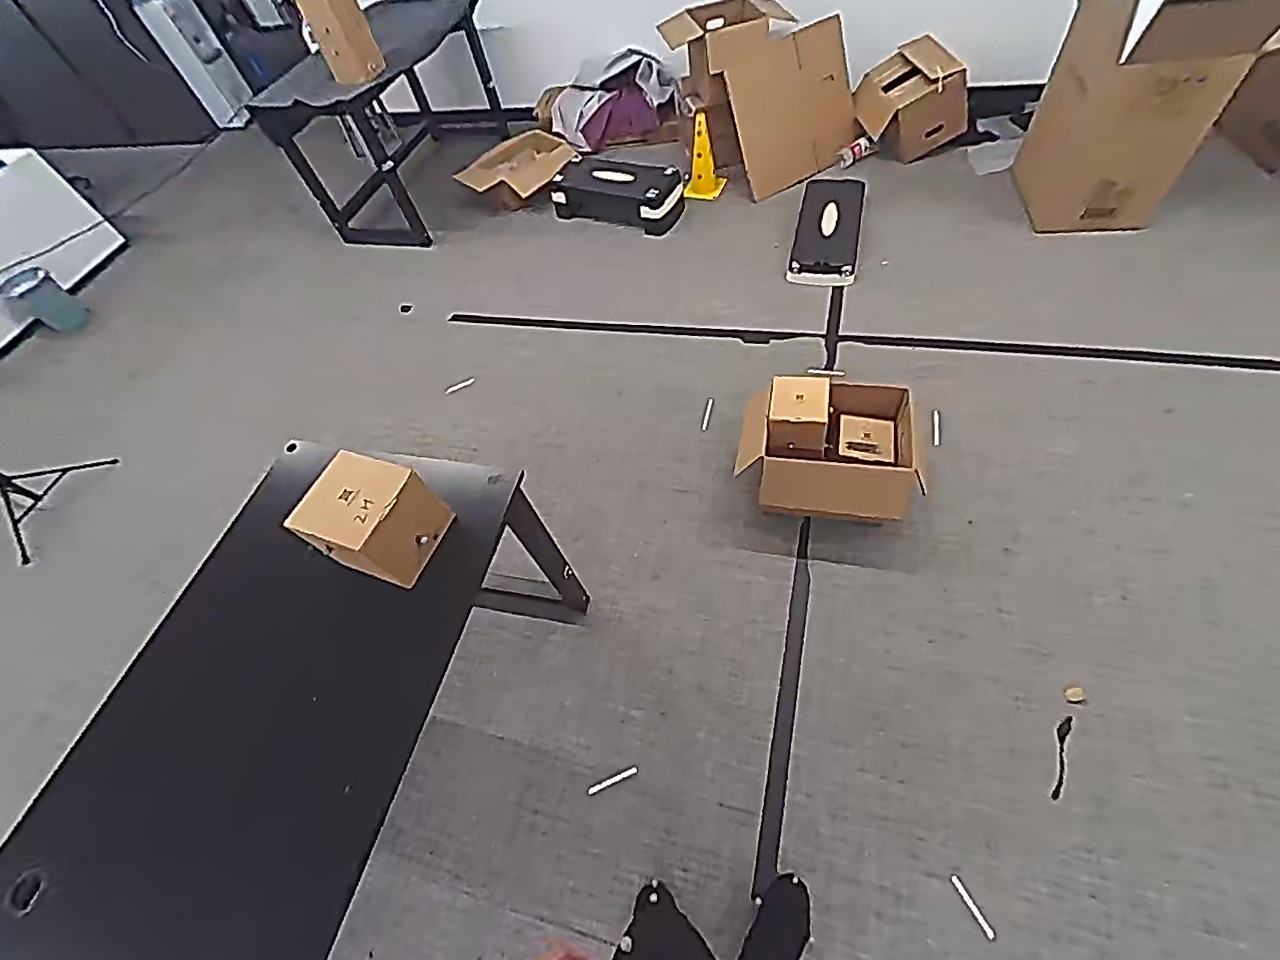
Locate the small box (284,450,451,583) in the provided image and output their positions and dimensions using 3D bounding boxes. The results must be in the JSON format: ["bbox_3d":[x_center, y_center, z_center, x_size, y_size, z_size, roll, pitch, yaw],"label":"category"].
[{"bbox_3d":[-0.489,0.072,0.996,0.179,0.176,0.168,14,62,18],"label":"small box"}]
